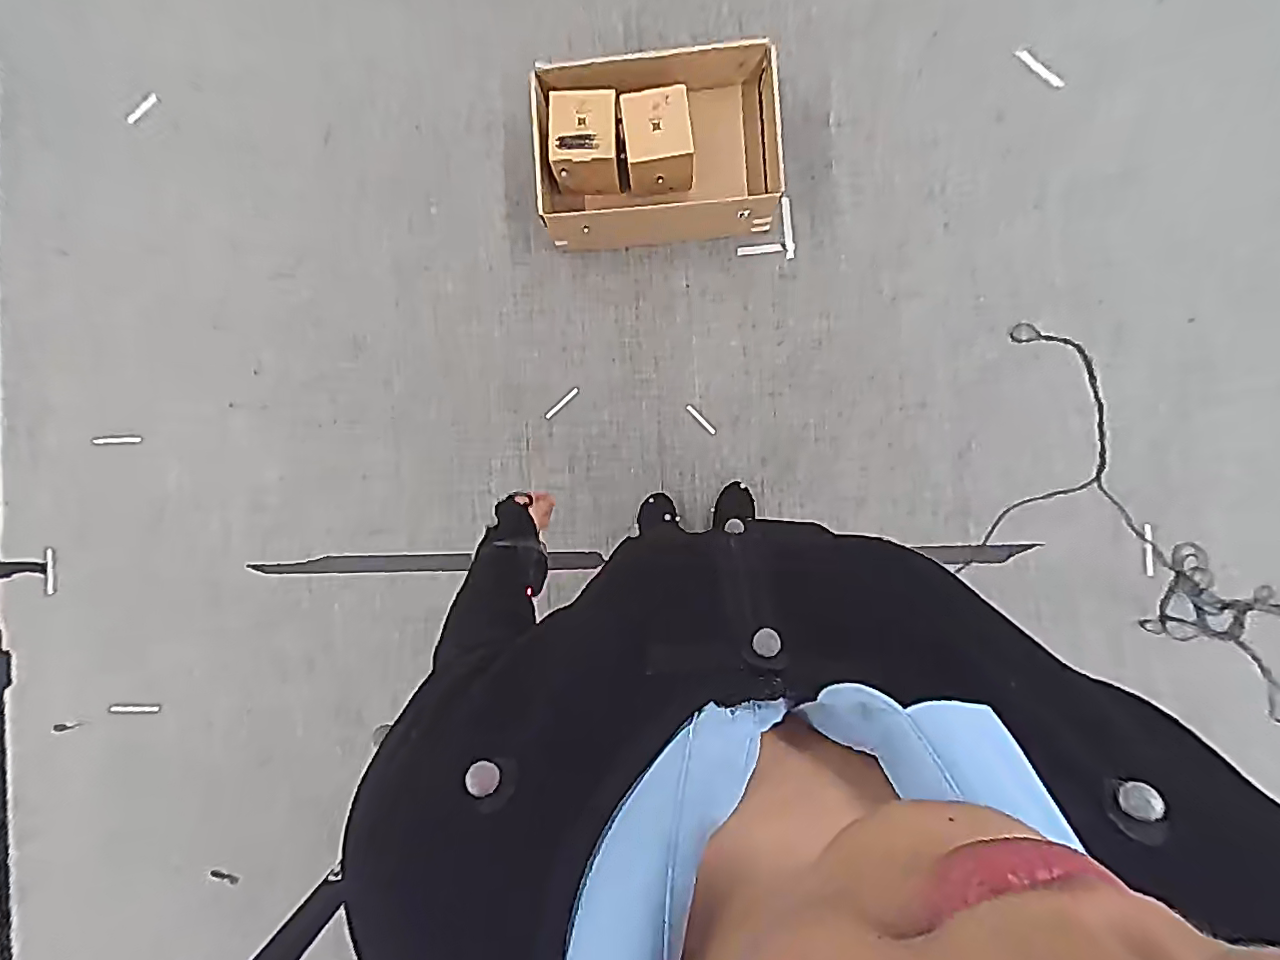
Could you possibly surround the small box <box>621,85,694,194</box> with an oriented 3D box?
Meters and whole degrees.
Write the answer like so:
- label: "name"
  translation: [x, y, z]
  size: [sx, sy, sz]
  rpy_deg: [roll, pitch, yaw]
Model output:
- label: "small box"
  translation: [0.048, -0.869, 1.403]
  size: [0.168, 0.176, 0.179]
  rpy_deg: [-7, 88, 3]
